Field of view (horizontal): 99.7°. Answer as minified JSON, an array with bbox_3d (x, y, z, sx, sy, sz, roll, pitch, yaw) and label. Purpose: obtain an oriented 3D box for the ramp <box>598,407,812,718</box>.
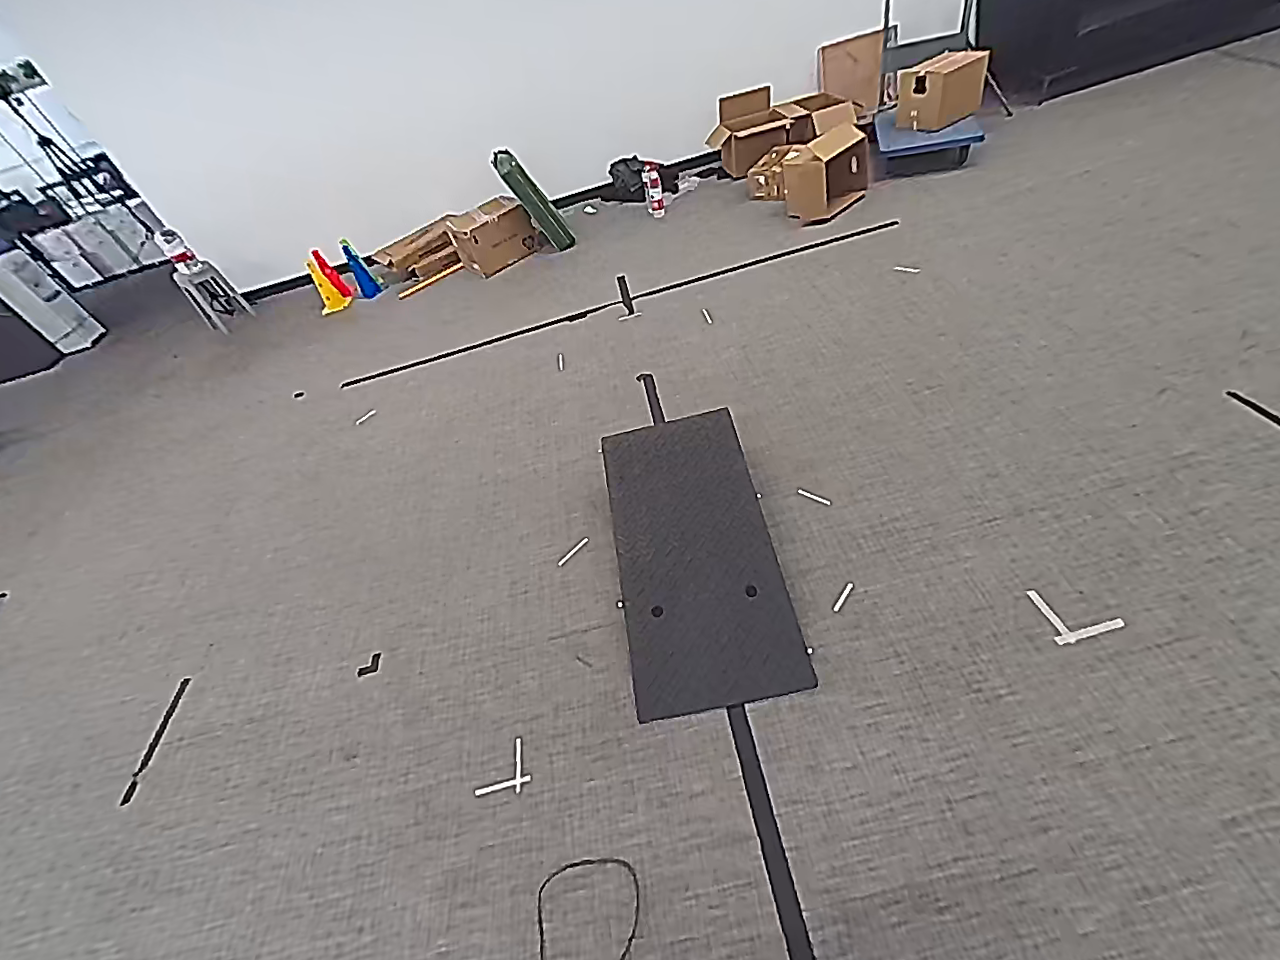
[{"bbox_3d":[0.154,0.192,1.731,0.509,0.206,0.991,-14,45,3],"label":"ramp"}]
